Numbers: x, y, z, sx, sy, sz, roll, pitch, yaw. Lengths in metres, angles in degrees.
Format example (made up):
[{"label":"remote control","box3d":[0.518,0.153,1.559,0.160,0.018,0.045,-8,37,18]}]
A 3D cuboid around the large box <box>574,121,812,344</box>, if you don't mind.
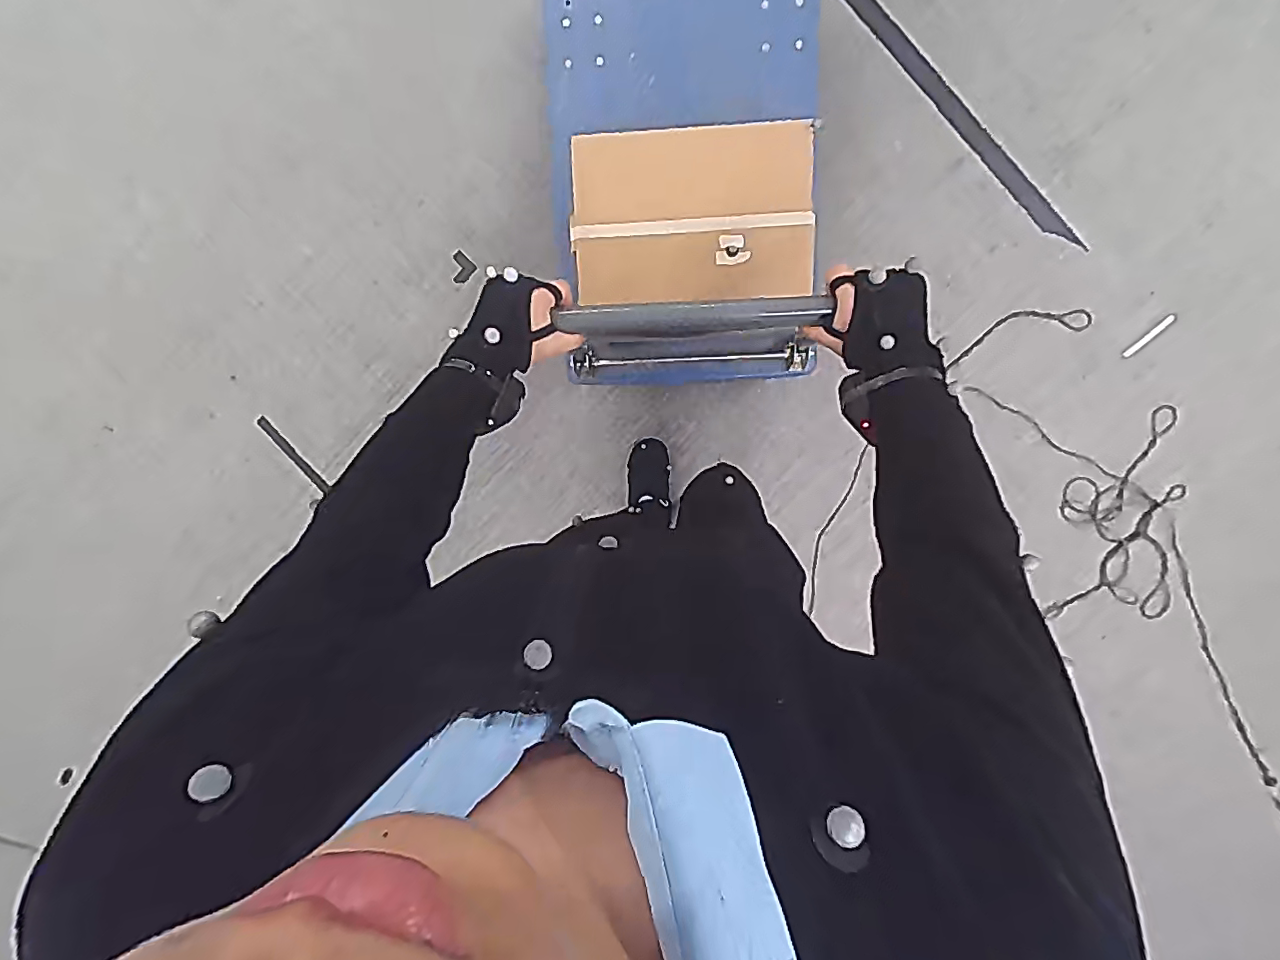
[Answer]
[{"label":"large box","box3d":[0.098,-0.455,1.074,0.408,0.320,0.320,-2,99,3]}]
